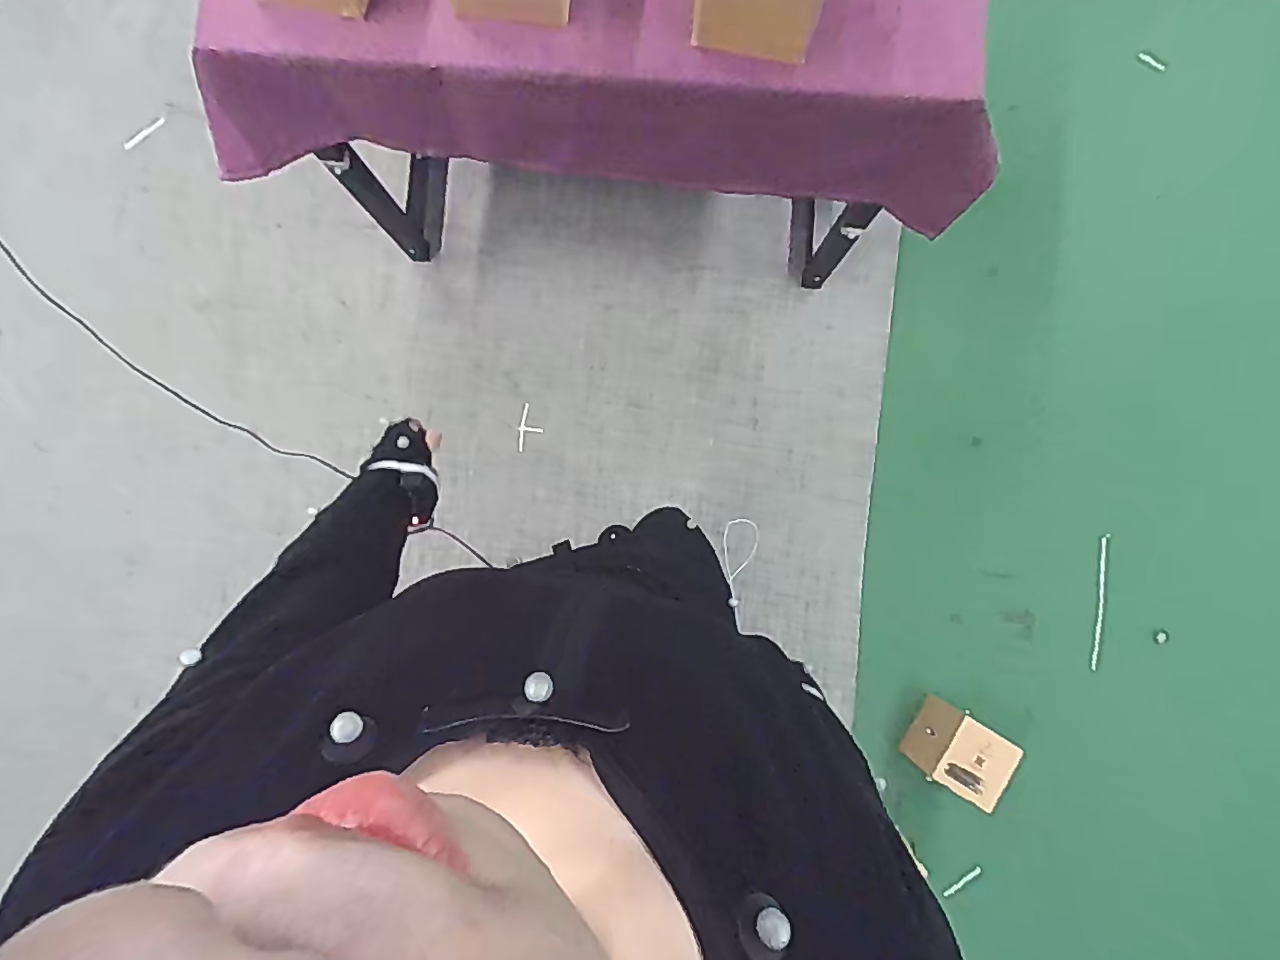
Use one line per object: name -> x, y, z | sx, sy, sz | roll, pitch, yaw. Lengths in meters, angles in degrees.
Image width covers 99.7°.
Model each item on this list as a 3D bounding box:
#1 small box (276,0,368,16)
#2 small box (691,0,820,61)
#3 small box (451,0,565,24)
small box -> -0.489, -0.800, 0.749 | 0.179, 0.176, 0.168 | 12, 87, 0
small box -> 0.173, -0.729, 0.746 | 0.179, 0.176, 0.168 | 11, 87, 0
small box -> -0.188, -0.784, 0.747 | 0.179, 0.176, 0.168 | 7, 86, 0
